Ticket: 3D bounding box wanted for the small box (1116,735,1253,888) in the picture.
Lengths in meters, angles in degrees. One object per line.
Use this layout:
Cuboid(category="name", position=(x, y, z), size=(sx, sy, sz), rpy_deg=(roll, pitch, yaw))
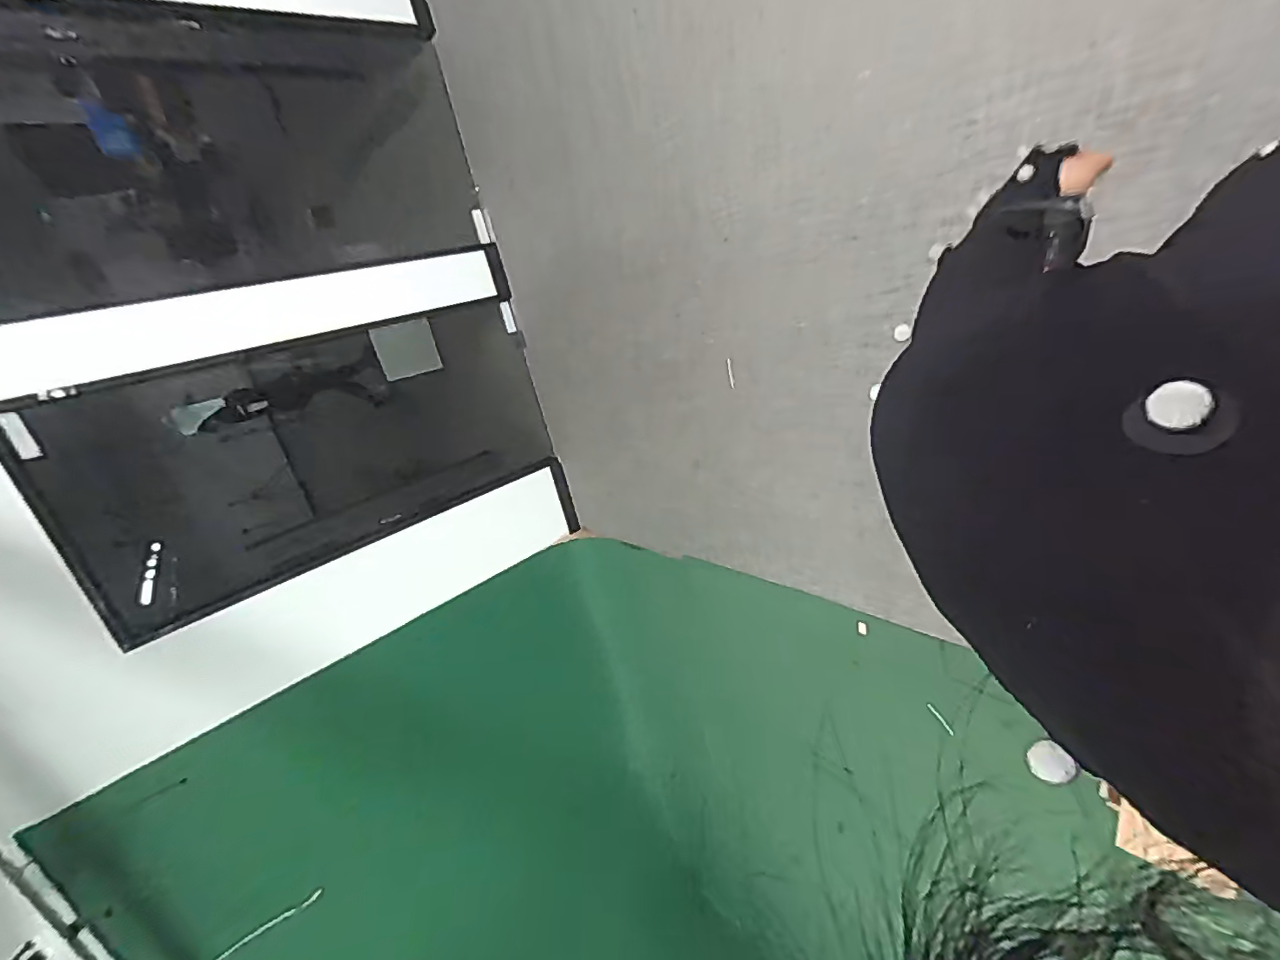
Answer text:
Cuboid(category="small box", position=(1.125, 0.670, 1.119), size=(0.179, 0.176, 0.168), rpy_deg=(11, 119, 49))
